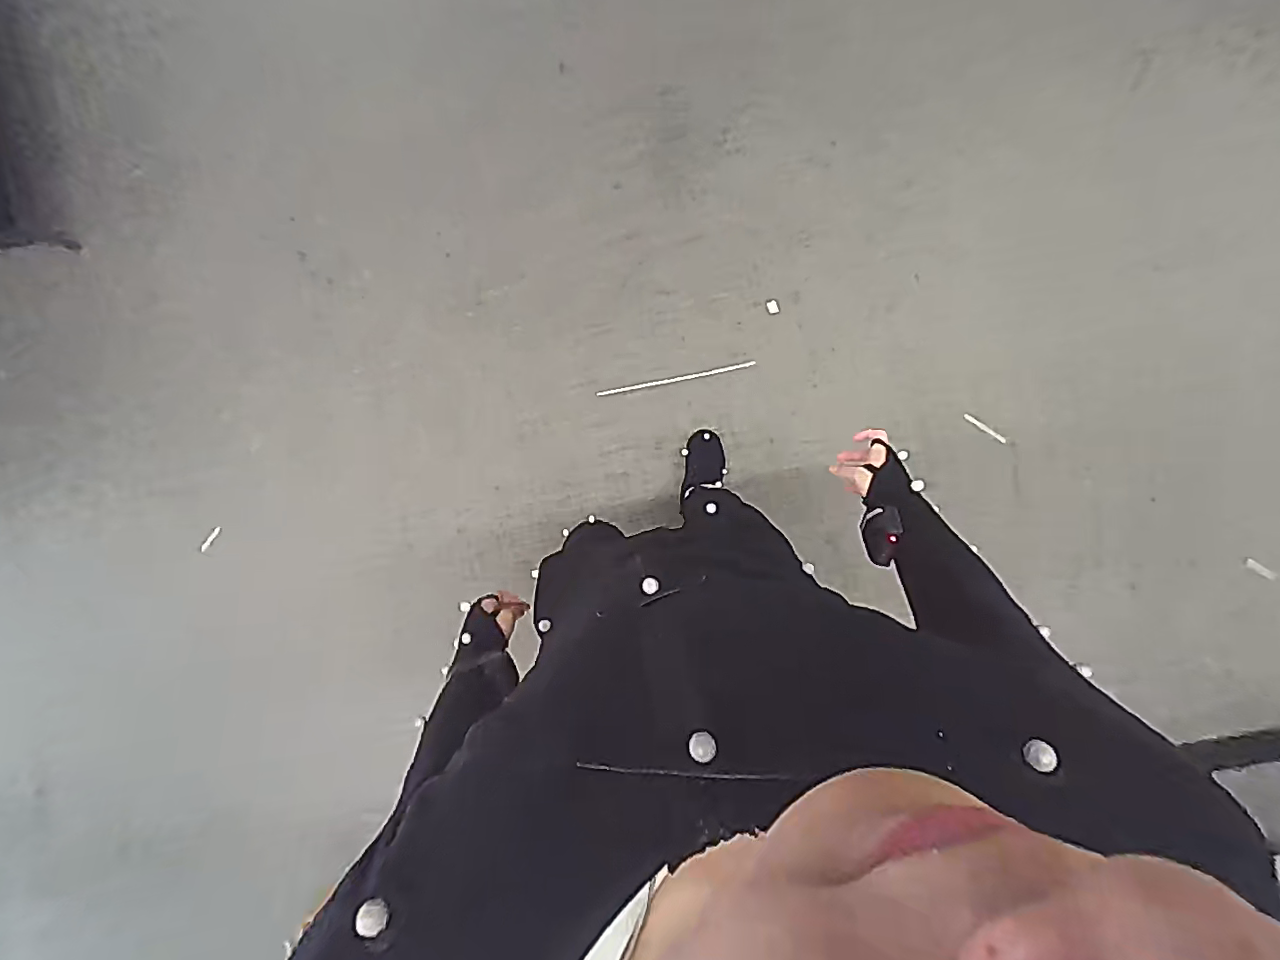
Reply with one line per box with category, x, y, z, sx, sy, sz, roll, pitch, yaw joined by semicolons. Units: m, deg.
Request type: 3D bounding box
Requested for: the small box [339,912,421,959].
small box;-0.772;1.435;1.611;0.179;0.176;0.168;-6;93;3
